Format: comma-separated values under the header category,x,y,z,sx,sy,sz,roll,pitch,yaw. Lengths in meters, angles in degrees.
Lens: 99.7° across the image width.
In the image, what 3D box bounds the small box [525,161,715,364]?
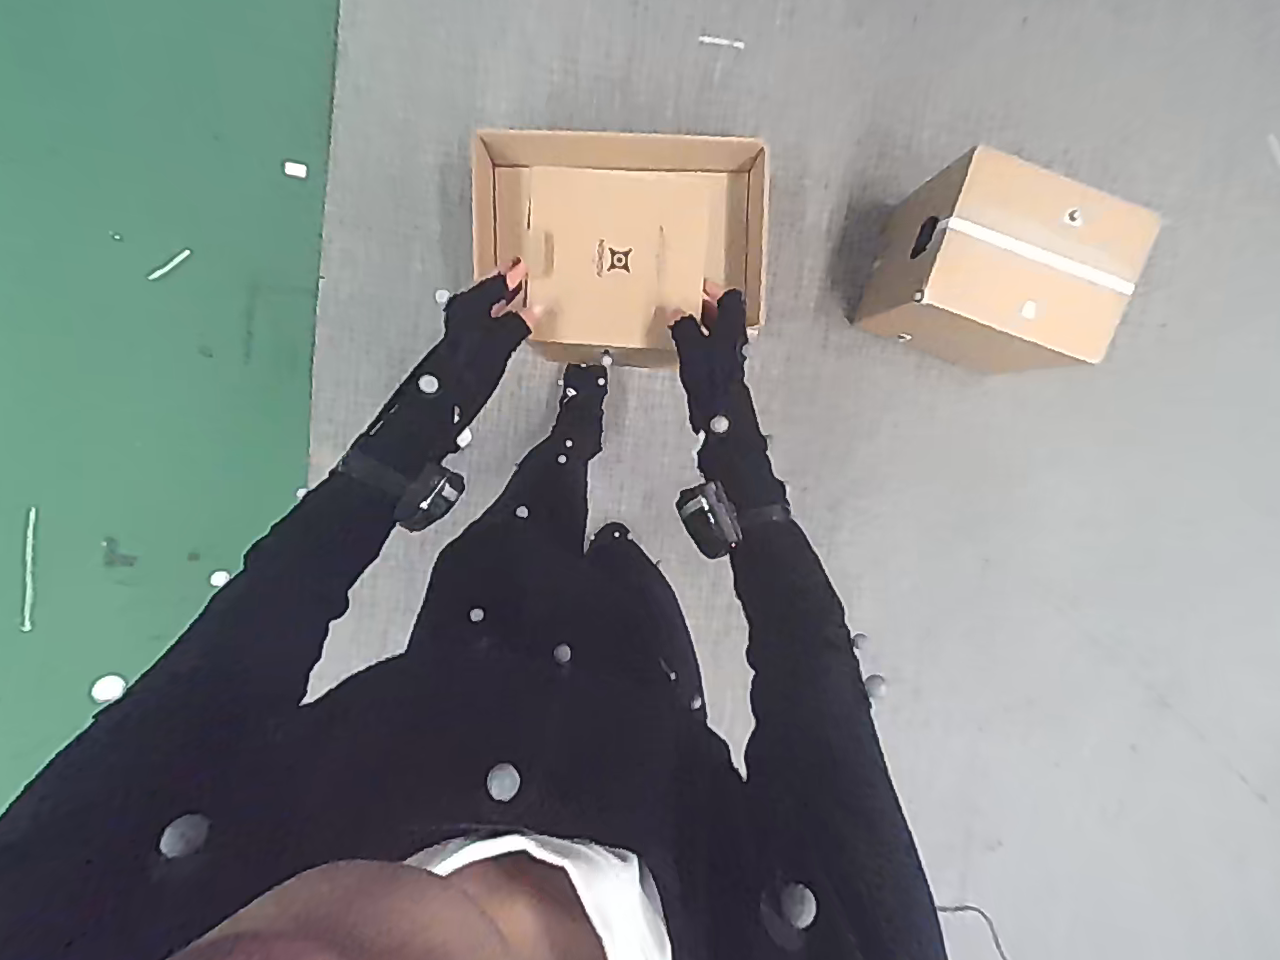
category,x,y,z,sx,sy,sz,roll,pitch,yaw
small box,-0.022,-0.224,0.600,0.179,0.176,0.168,4,96,-3
